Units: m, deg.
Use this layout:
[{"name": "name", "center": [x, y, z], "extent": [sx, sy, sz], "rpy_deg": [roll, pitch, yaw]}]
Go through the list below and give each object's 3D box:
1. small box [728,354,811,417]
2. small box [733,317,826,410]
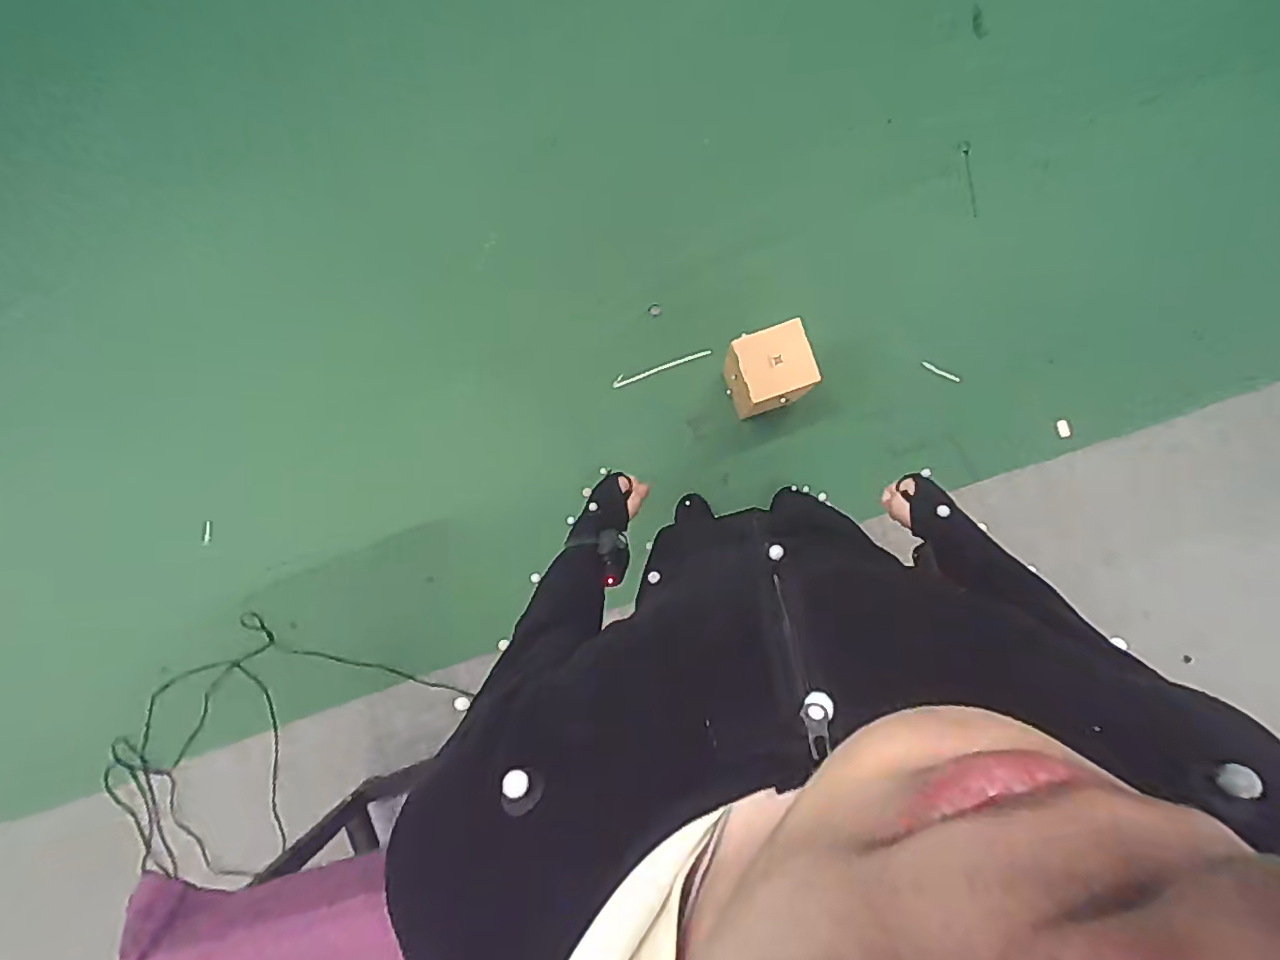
[{"name": "small box", "center": [0.362, -0.290, 1.544], "extent": [0.179, 0.176, 0.168], "rpy_deg": [-18, 87, 5]}, {"name": "small box", "center": [0.348, -0.290, 1.382], "extent": [0.179, 0.176, 0.168], "rpy_deg": [-19, 87, 5]}]
